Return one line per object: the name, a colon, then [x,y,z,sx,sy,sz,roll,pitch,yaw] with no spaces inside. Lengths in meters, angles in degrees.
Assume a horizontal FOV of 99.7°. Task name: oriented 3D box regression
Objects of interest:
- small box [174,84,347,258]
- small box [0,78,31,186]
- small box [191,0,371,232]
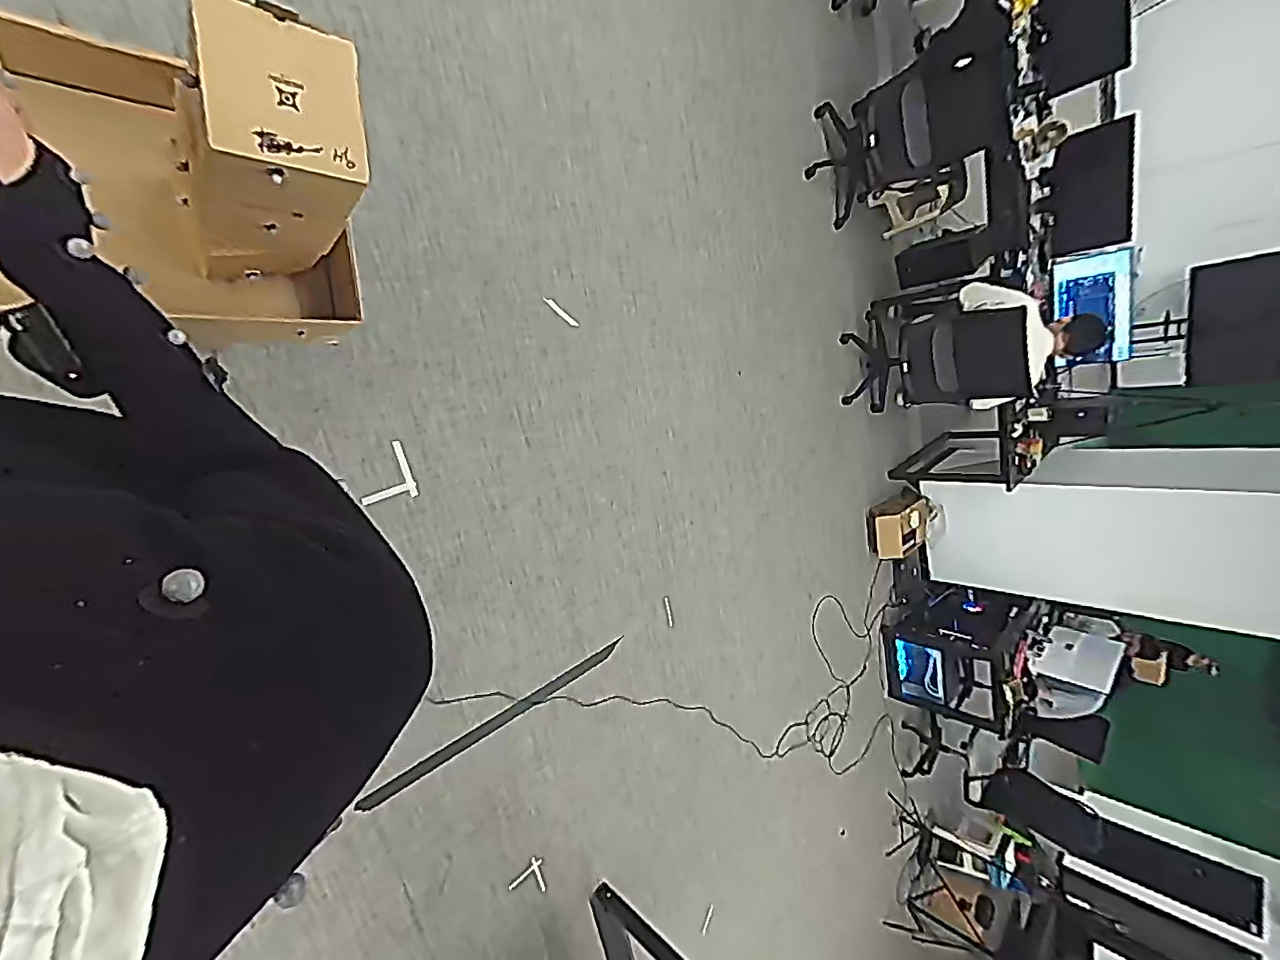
small box: [-0.569,-0.446,0.816,0.179,0.176,0.168,-15,101,-39]
small box: [-0.629,-0.334,0.413,0.179,0.176,0.168,-19,111,-31]
small box: [-0.461,-0.447,0.692,0.168,0.176,0.179,-7,95,-40]
